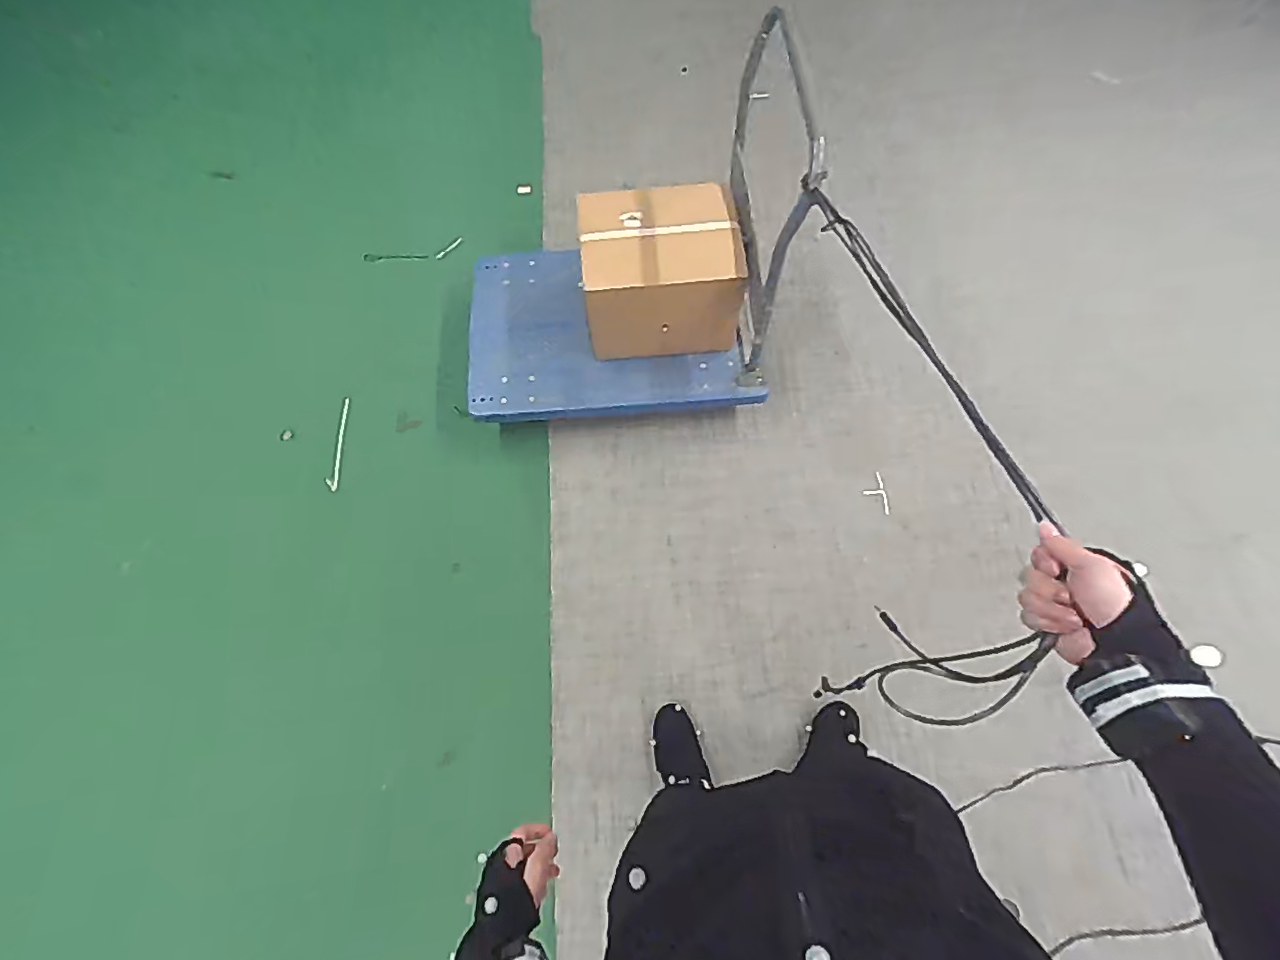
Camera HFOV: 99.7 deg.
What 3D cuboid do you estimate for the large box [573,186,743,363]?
[{"bbox_3d":[0.045,-0.550,1.494,0.408,0.320,0.320,-6,69,1],"label":"large box"}]
